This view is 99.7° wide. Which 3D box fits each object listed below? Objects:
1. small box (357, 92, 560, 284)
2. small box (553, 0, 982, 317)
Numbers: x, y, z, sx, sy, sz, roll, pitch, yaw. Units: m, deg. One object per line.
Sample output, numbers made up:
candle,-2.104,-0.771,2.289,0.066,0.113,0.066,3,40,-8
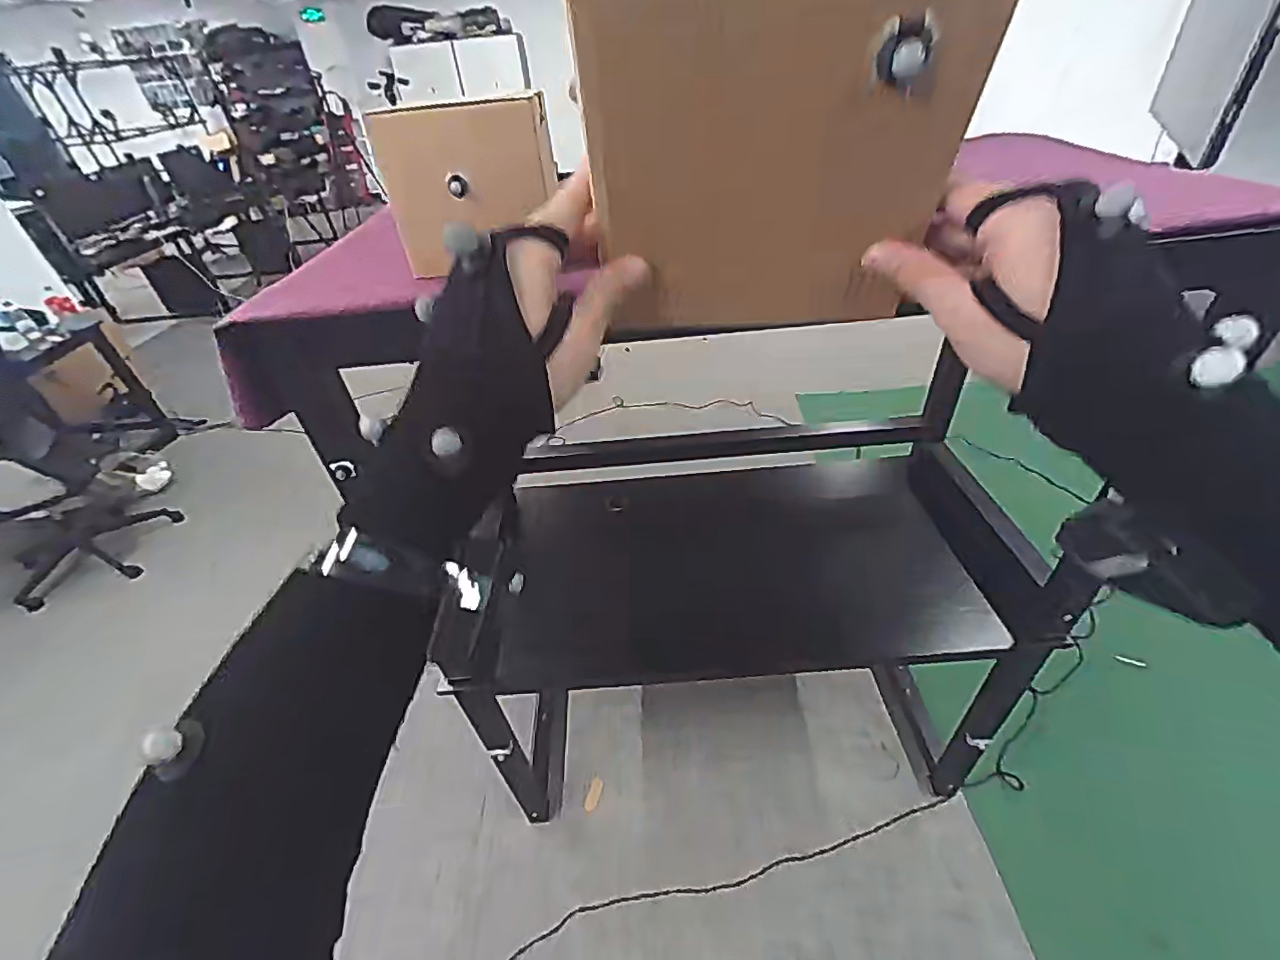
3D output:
small box,-0.198,-0.353,0.656,0.179,0.176,0.168,-7,38,1
small box,0.055,-0.209,0.308,0.179,0.176,0.168,-1,55,2
